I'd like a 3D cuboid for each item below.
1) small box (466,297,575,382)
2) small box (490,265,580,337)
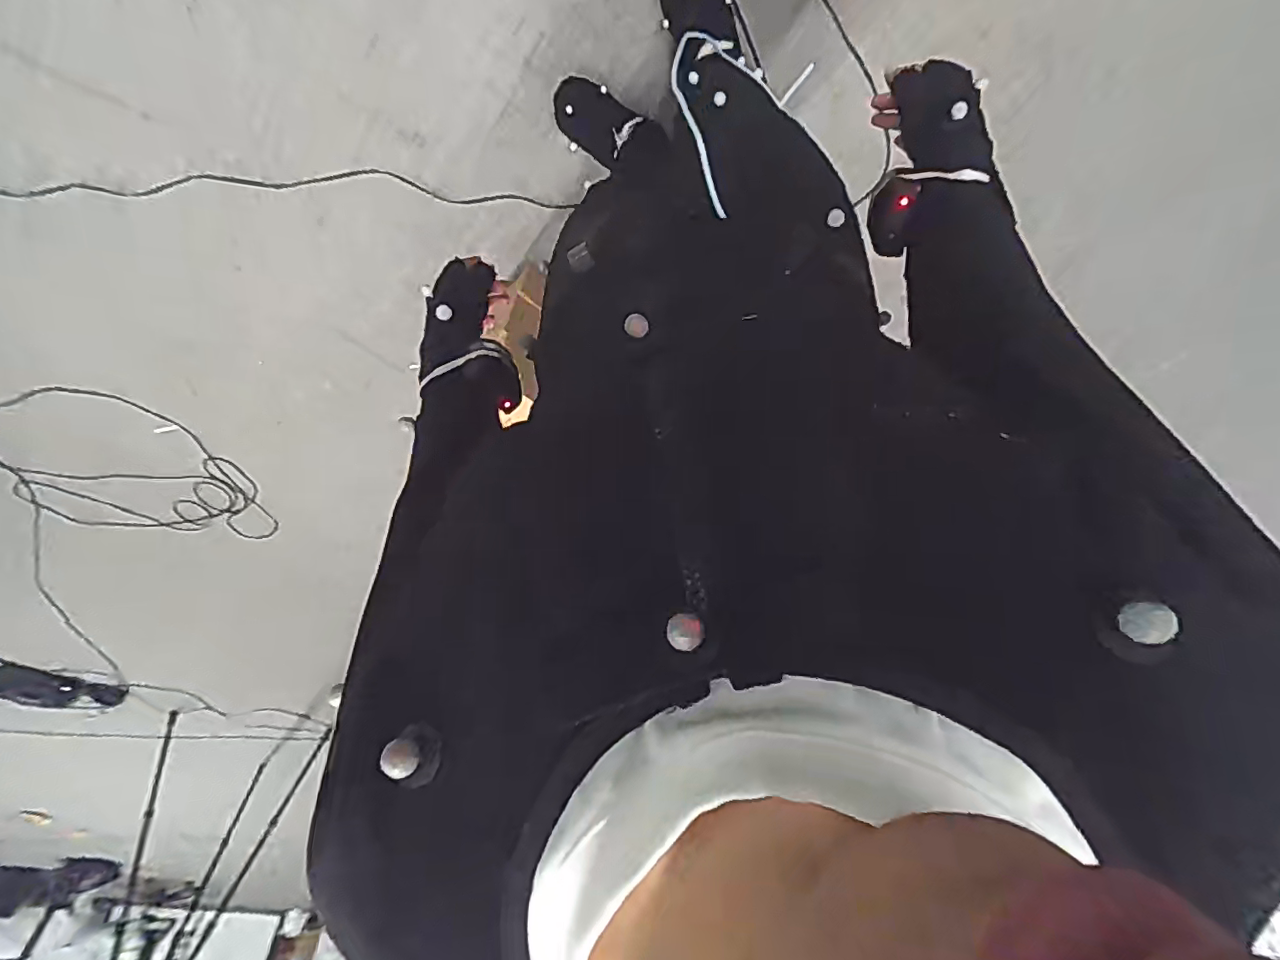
[{"bbox_3d":[-0.264,-0.280,1.233,0.179,0.176,0.168,32,125,-28],"label":"small box"},{"bbox_3d":[-0.264,-0.399,1.348,0.168,0.176,0.179,31,125,-28],"label":"small box"}]
